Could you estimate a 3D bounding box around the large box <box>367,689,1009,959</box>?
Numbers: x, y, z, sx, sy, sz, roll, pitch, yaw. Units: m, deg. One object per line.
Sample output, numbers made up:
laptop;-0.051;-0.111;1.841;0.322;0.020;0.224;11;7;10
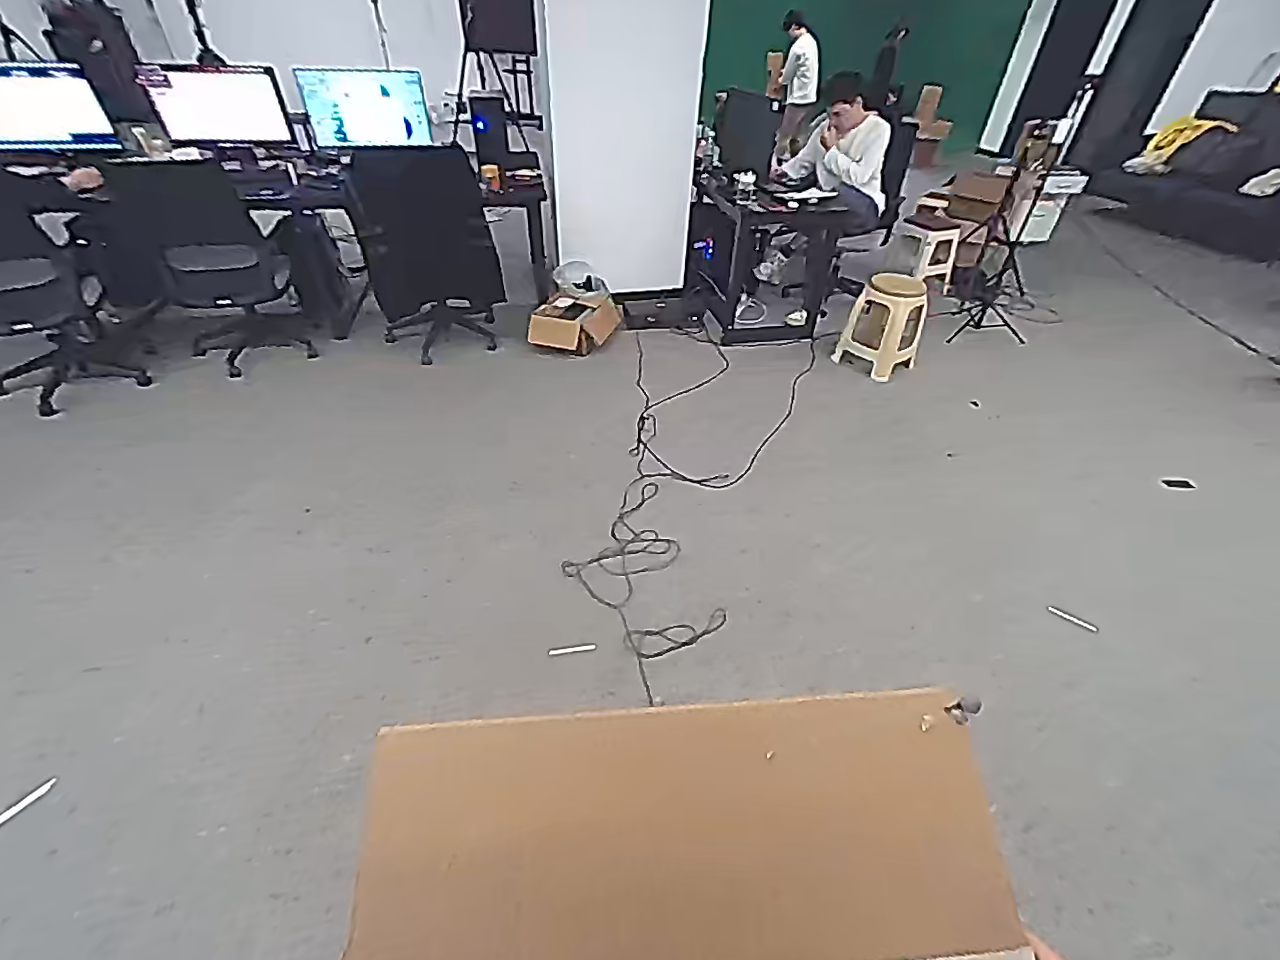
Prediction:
large box;0.028;0.371;0.461;0.408;0.320;0.320;-3;66;-4
